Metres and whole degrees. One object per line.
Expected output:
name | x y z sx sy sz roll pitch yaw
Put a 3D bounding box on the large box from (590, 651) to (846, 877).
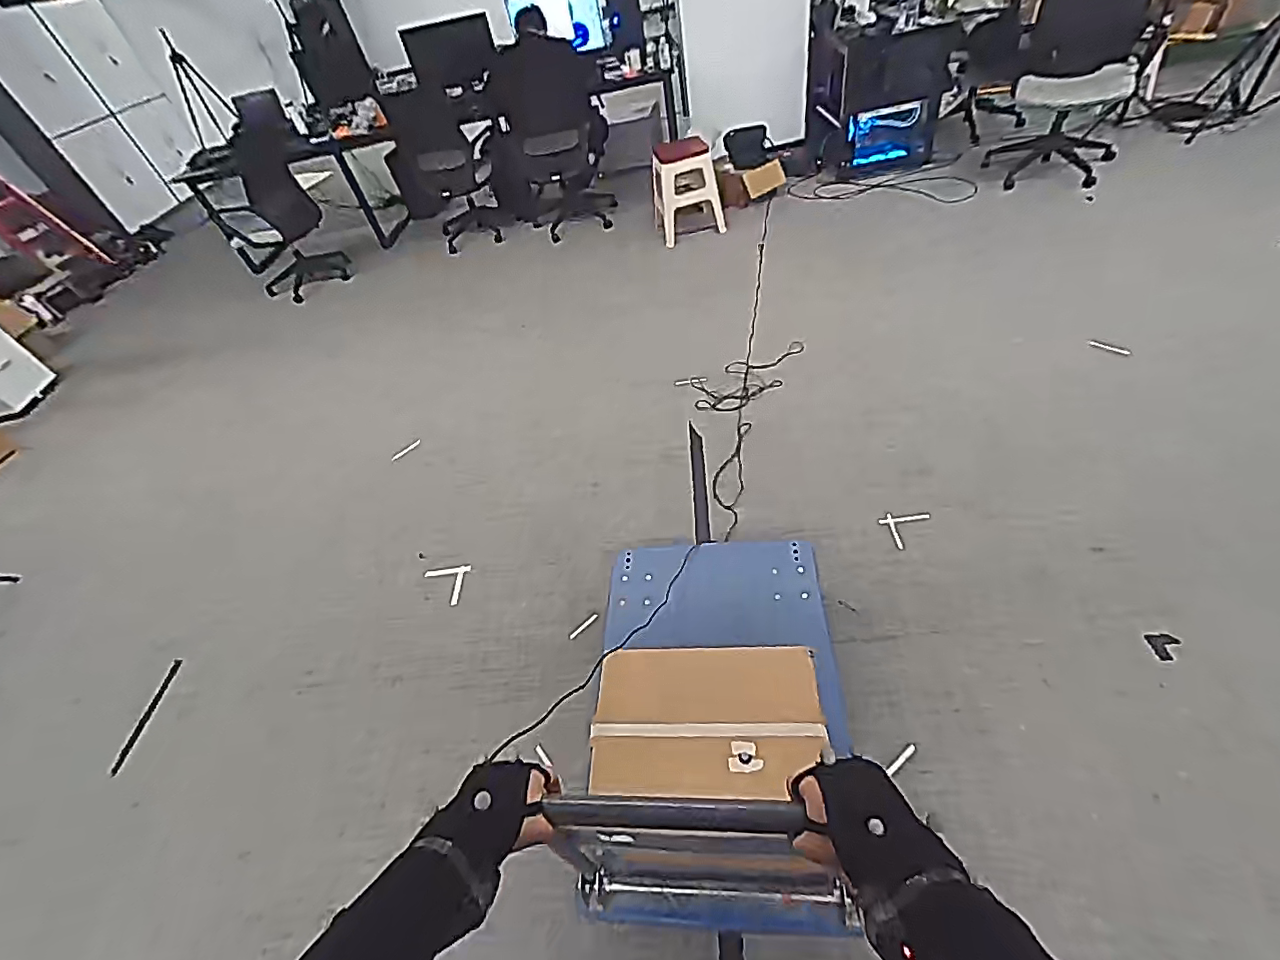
large box | 0.144 0.549 1.040 0.408 0.320 0.320 -4 47 9
